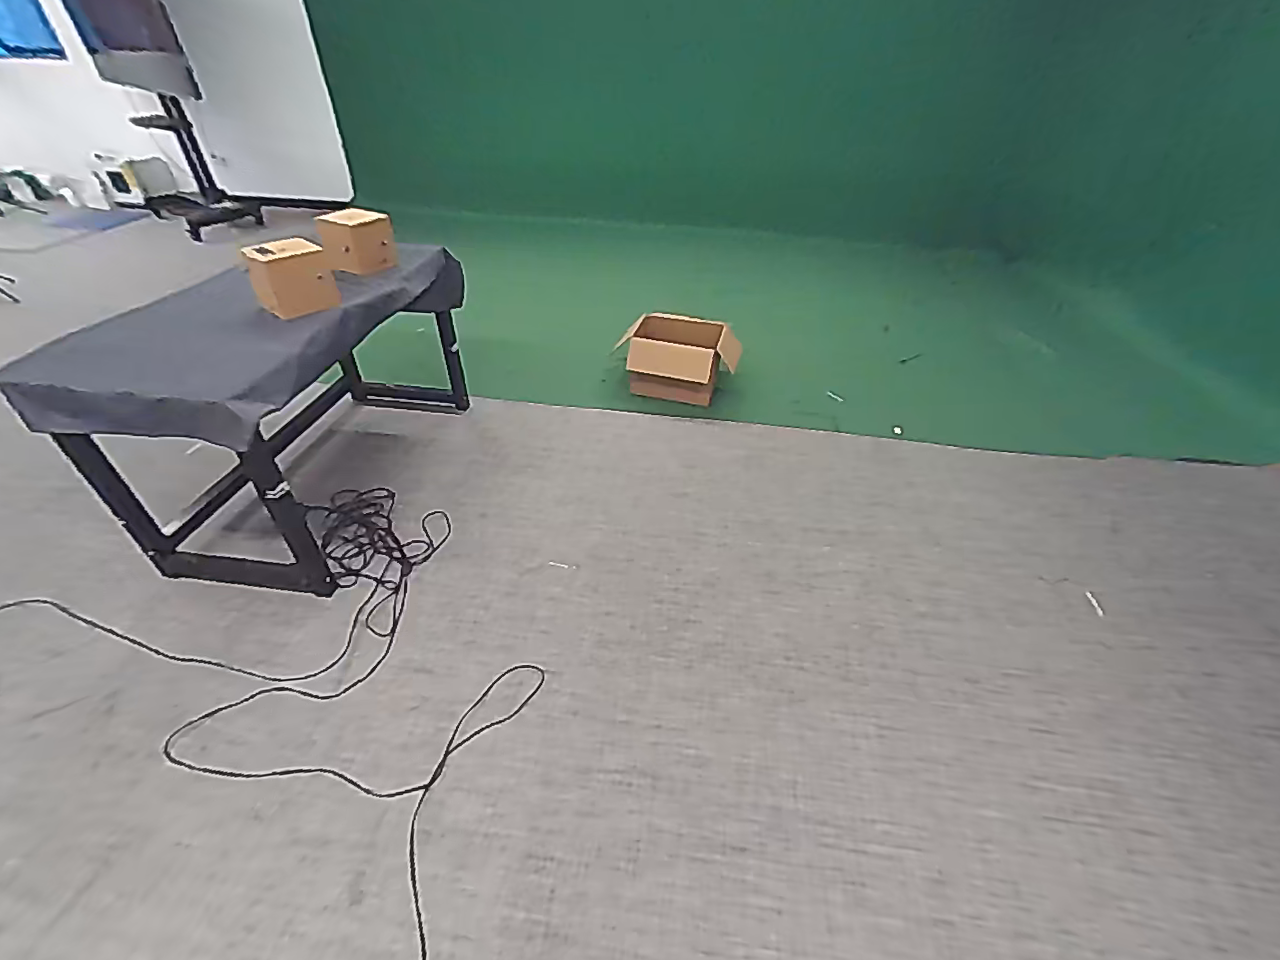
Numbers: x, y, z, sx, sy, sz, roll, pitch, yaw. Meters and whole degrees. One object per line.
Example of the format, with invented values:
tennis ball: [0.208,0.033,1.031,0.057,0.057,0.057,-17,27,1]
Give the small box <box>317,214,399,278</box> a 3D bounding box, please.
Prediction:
small box: [-0.988,-0.825,1.910,0.179,0.176,0.168,17,40,20]
